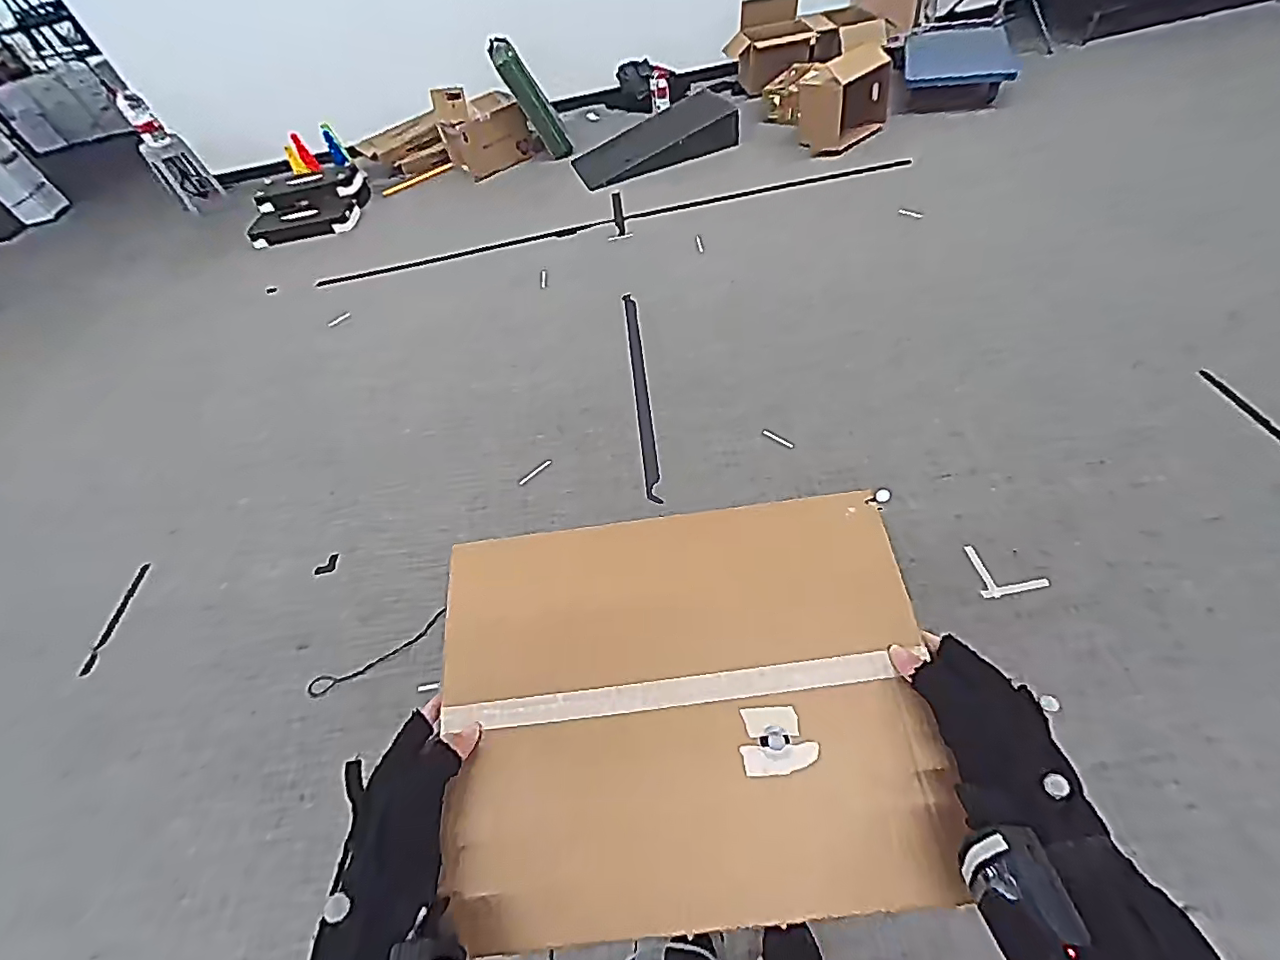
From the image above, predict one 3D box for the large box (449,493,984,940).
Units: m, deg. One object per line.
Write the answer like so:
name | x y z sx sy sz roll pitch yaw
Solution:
large box | 0.047 0.243 0.592 0.408 0.320 0.320 -8 63 1
